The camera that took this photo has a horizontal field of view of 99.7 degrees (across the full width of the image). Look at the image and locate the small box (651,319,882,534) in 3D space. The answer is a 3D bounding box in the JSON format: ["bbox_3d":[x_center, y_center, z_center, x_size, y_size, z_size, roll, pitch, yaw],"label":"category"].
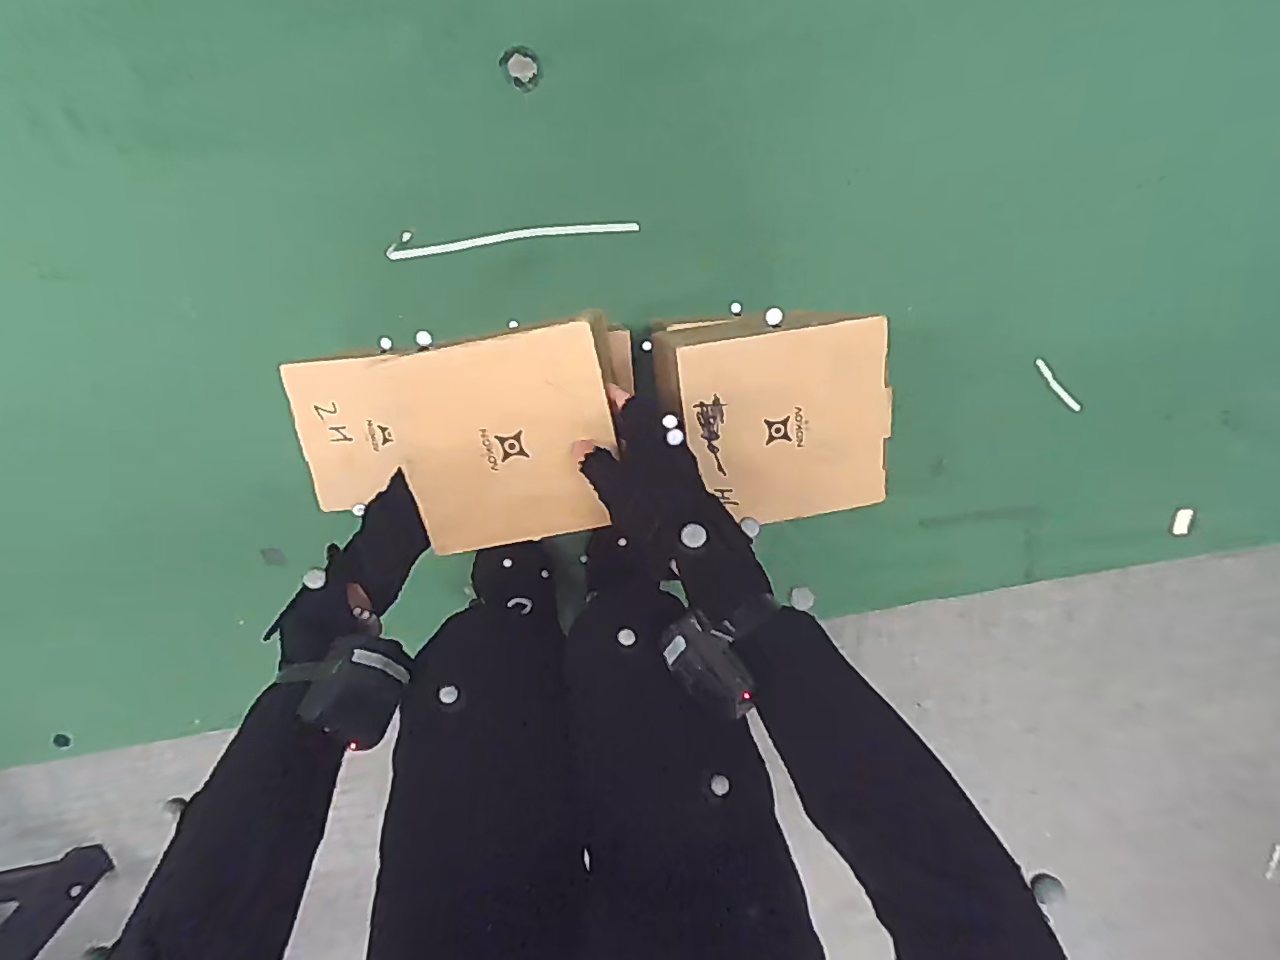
[{"bbox_3d":[0.114,-0.064,0.539,0.179,0.176,0.168,-9,109,-3],"label":"small box"}]
